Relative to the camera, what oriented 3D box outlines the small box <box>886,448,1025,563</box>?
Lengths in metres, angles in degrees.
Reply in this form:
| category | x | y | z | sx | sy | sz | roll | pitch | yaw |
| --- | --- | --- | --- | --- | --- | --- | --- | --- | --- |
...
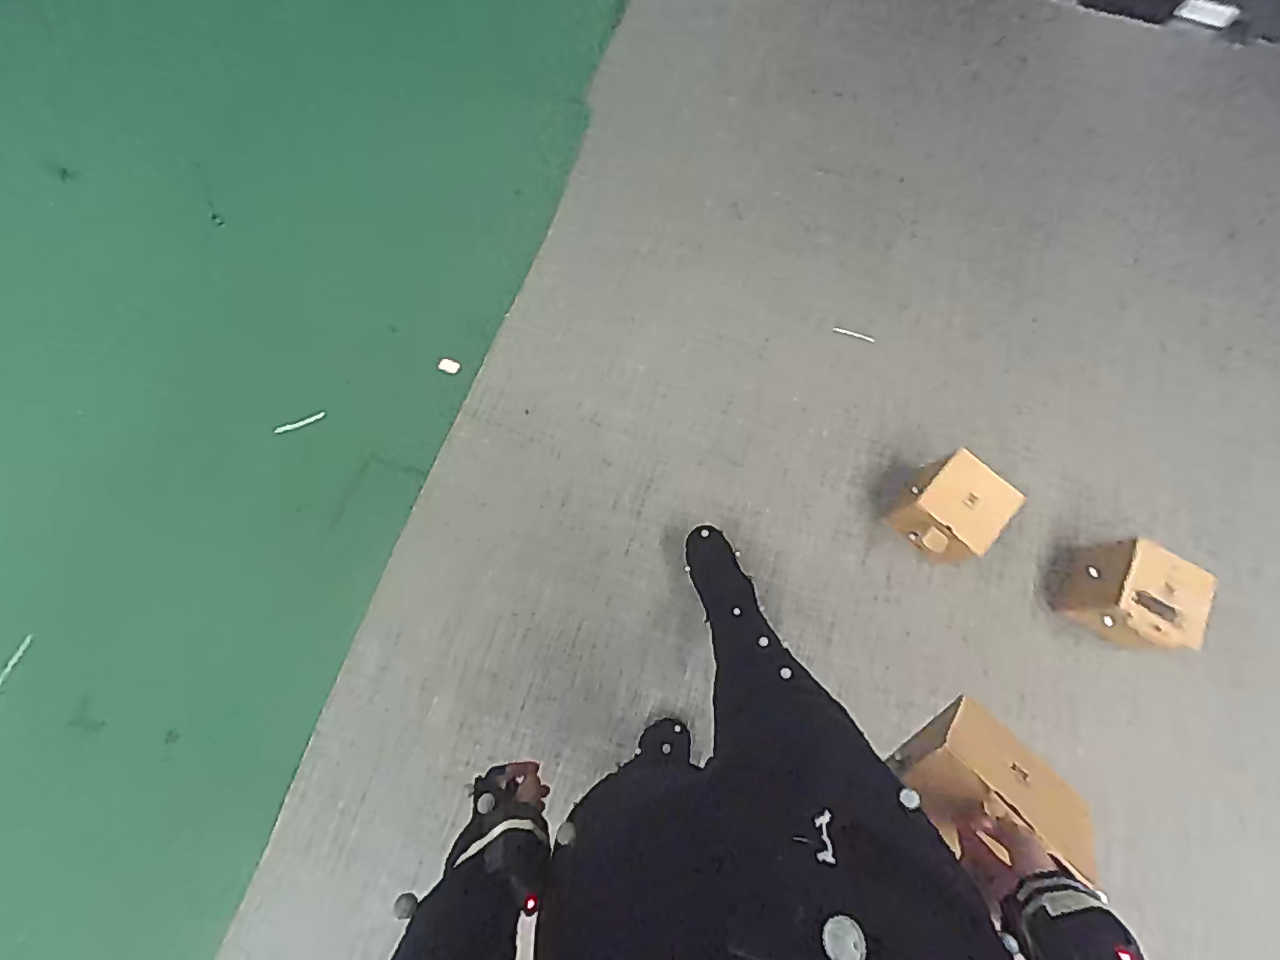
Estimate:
| category | x | y | z | sx | sy | sz | roll | pitch | yaw |
| --- | --- | --- | --- | --- | --- | --- | --- | --- | --- |
| small box | 0.684 | 0.064 | 1.196 | 0.168 | 0.176 | 0.179 | 43 | 78 | 9 |

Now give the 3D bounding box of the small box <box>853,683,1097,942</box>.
| category | x | y | z | sx | sy | sz | roll | pitch | yaw |
| --- | --- | --- | --- | --- | --- | --- | --- | --- | --- |
| small box | 0.381 | 0.379 | 0.635 | 0.168 | 0.179 | 0.176 | 47 | 115 | 26 |
